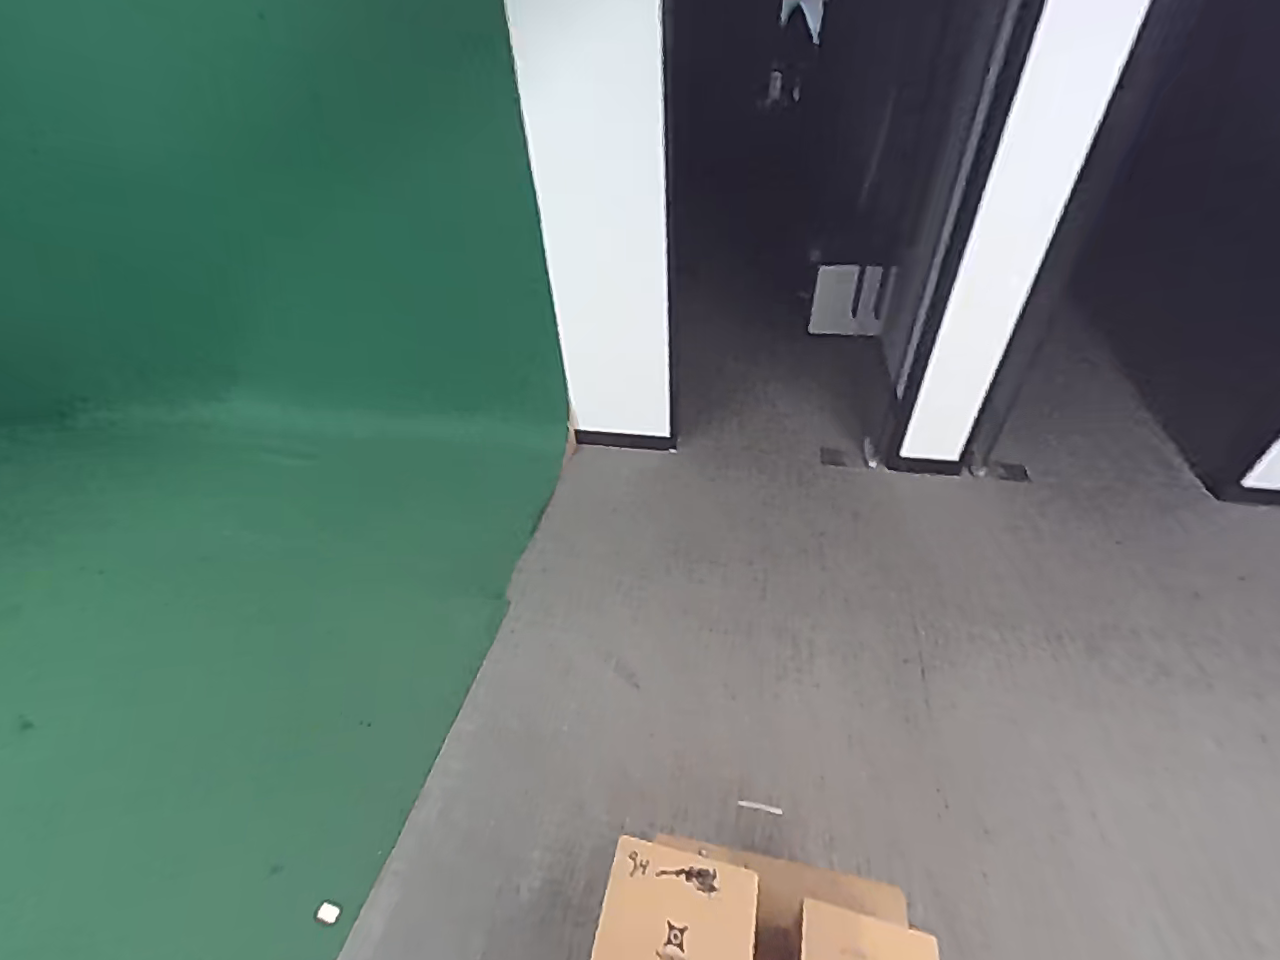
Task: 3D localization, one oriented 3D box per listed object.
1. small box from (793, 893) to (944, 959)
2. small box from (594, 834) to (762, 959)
[{"bbox_3d":[0.284,0.679,0.691,0.168,0.176,0.179,8,41,15],"label":"small box"},{"bbox_3d":[0.043,0.546,0.618,0.168,0.176,0.179,7,43,12],"label":"small box"}]
